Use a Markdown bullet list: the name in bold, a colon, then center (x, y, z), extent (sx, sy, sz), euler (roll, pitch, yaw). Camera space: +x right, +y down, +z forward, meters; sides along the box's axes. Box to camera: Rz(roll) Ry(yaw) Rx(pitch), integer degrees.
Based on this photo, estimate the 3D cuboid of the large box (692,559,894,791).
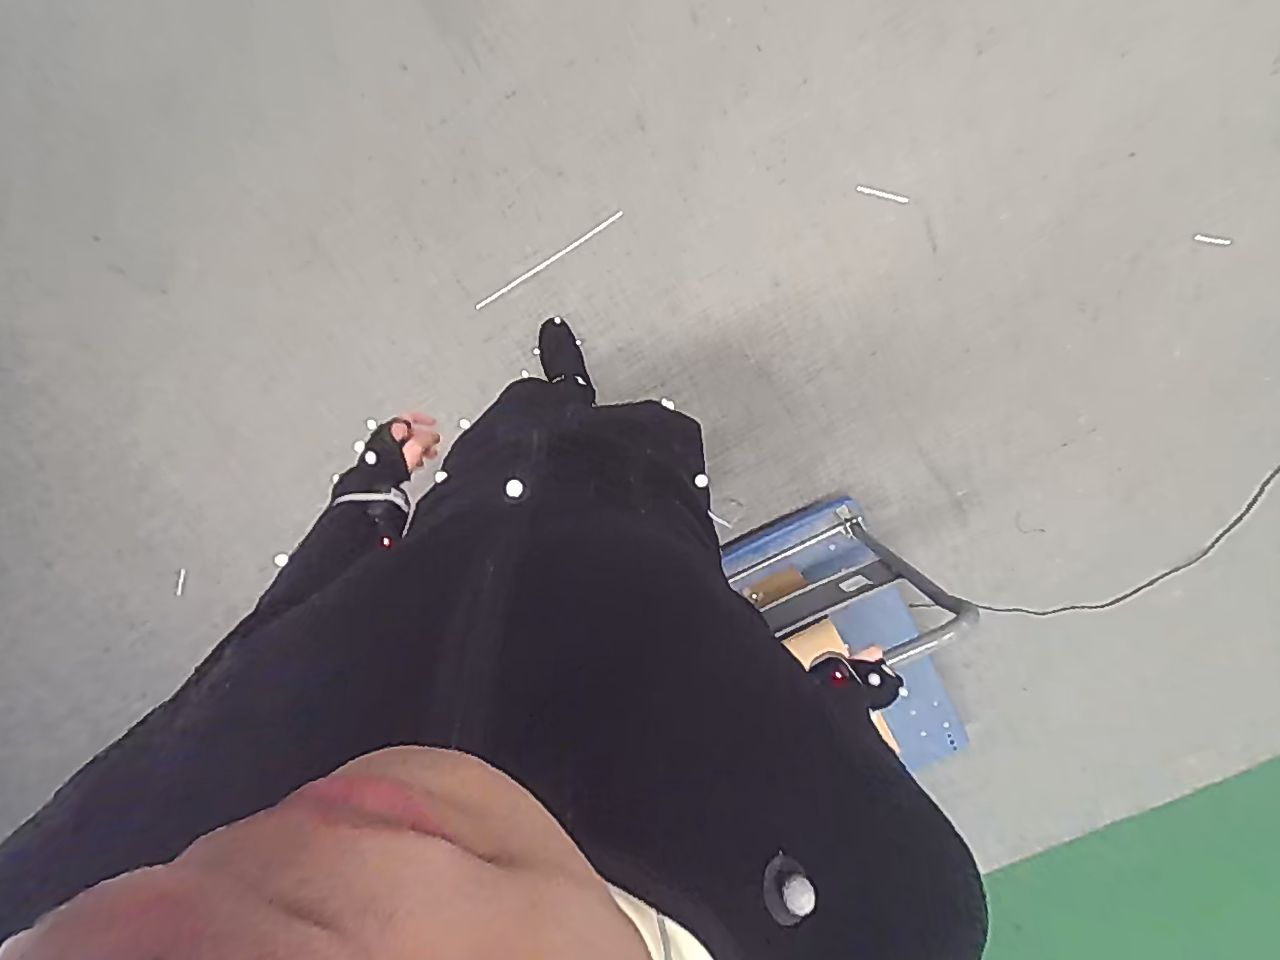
- **large box**: center (0.371, 0.483, 1.398), extent (0.320, 0.320, 0.408), euler (-28, 102, 8)
